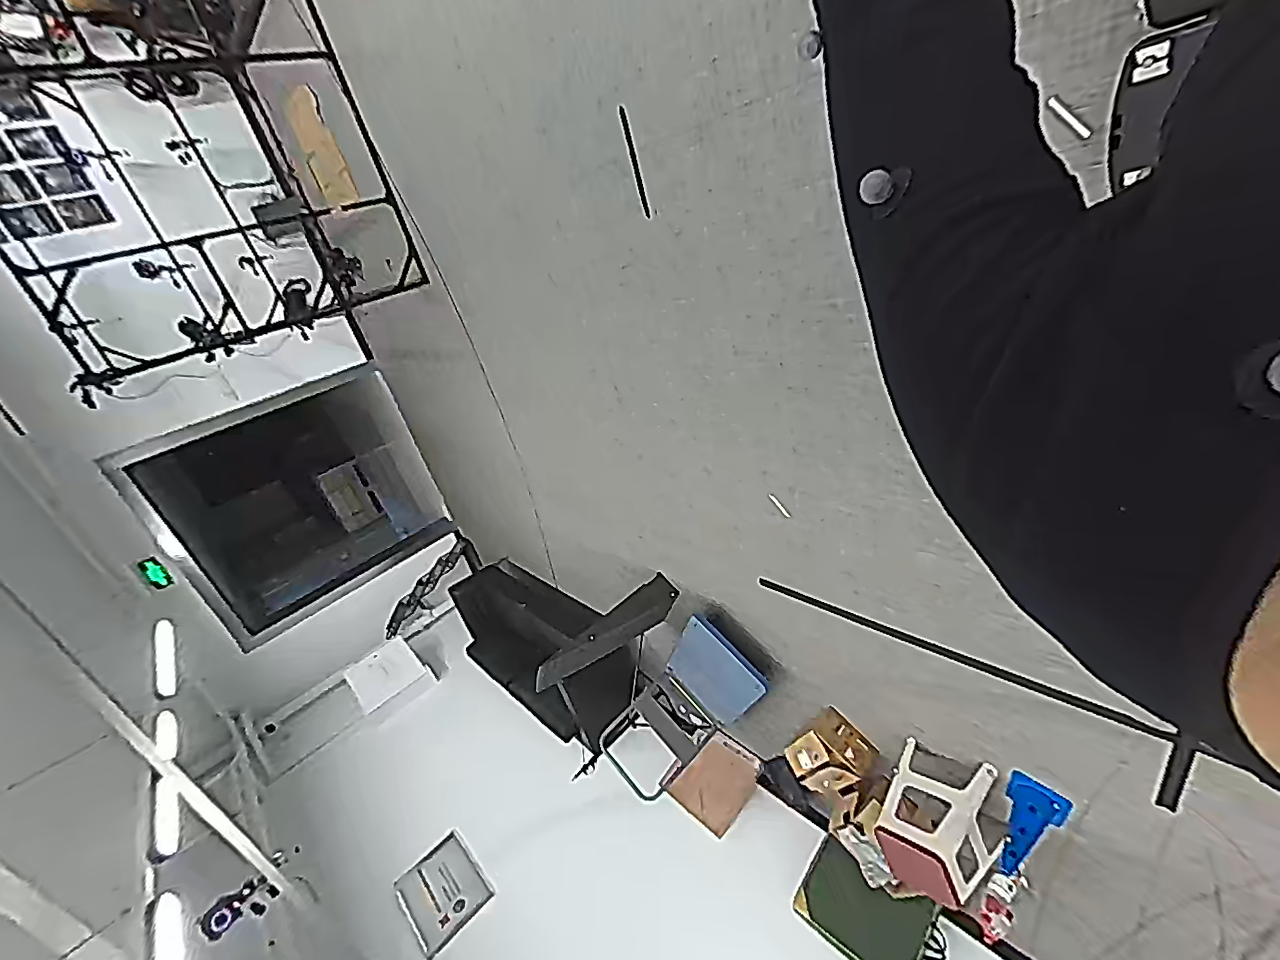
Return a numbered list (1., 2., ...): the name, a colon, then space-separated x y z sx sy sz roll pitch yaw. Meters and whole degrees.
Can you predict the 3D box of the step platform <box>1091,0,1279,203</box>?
1. step platform: 1.156 -0.662 0.853 0.684 0.204 0.286 15 130 49
